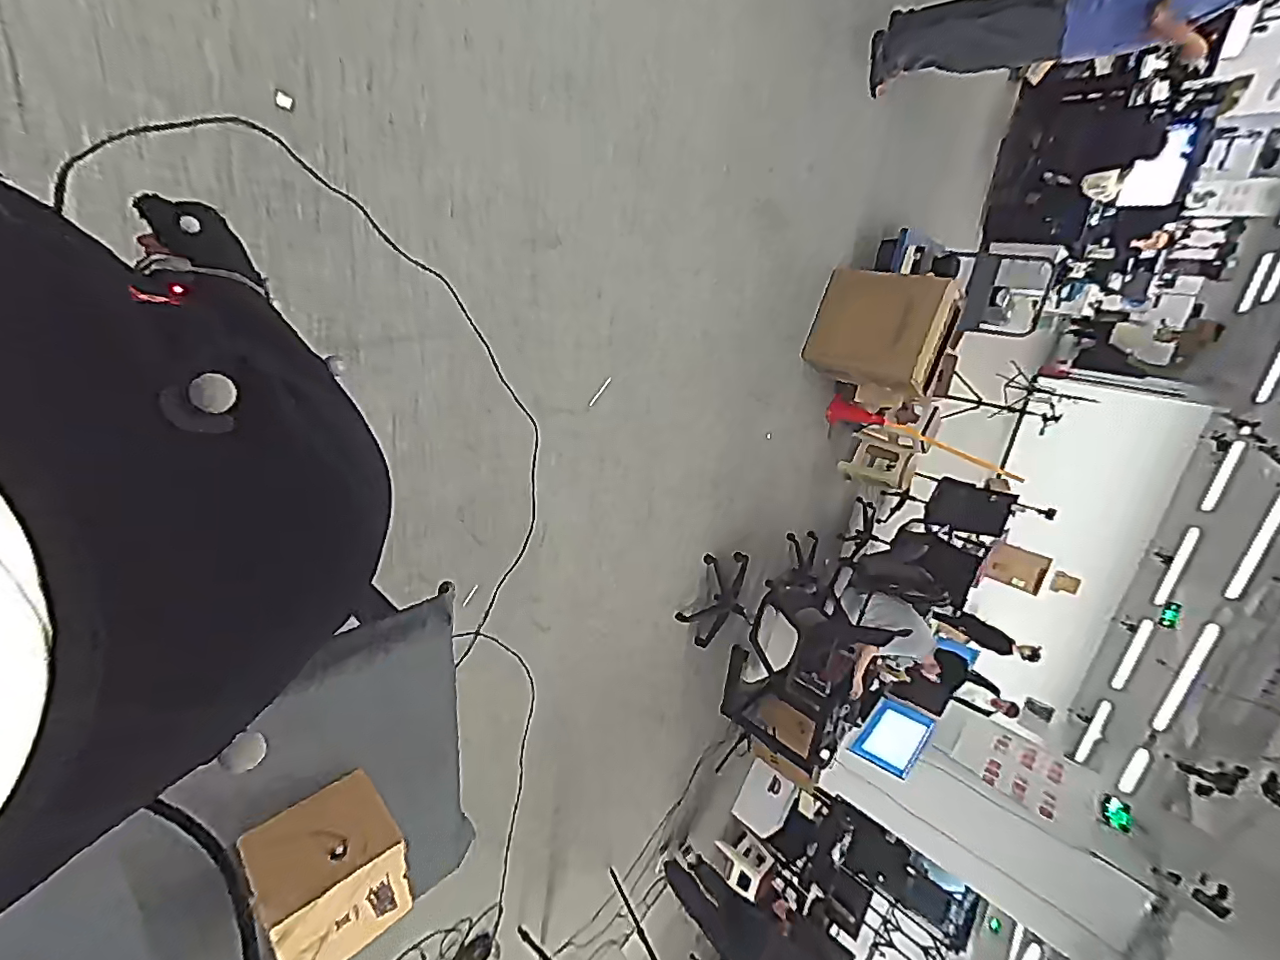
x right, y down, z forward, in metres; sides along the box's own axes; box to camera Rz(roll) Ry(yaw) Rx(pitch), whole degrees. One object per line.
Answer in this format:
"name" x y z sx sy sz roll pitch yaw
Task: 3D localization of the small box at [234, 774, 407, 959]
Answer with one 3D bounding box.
"small box" -0.486 0.602 0.830 0.179 0.176 0.168 -18 121 -43
